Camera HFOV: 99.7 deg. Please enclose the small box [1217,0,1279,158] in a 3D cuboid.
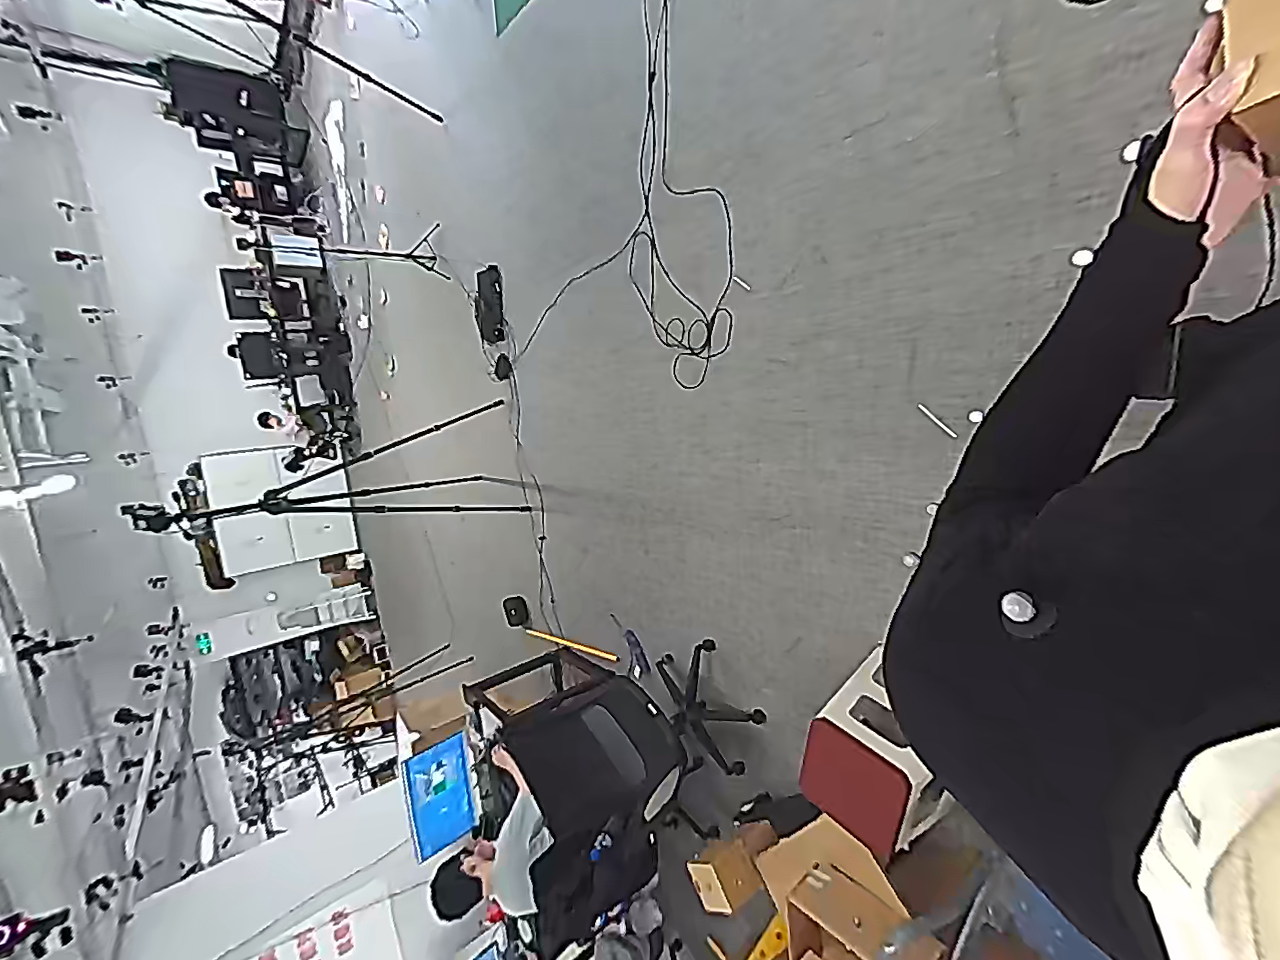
[{"bbox_3d":[0.483,-0.323,0.321,0.168,0.176,0.179,-1,91,59],"label":"small box"}]
